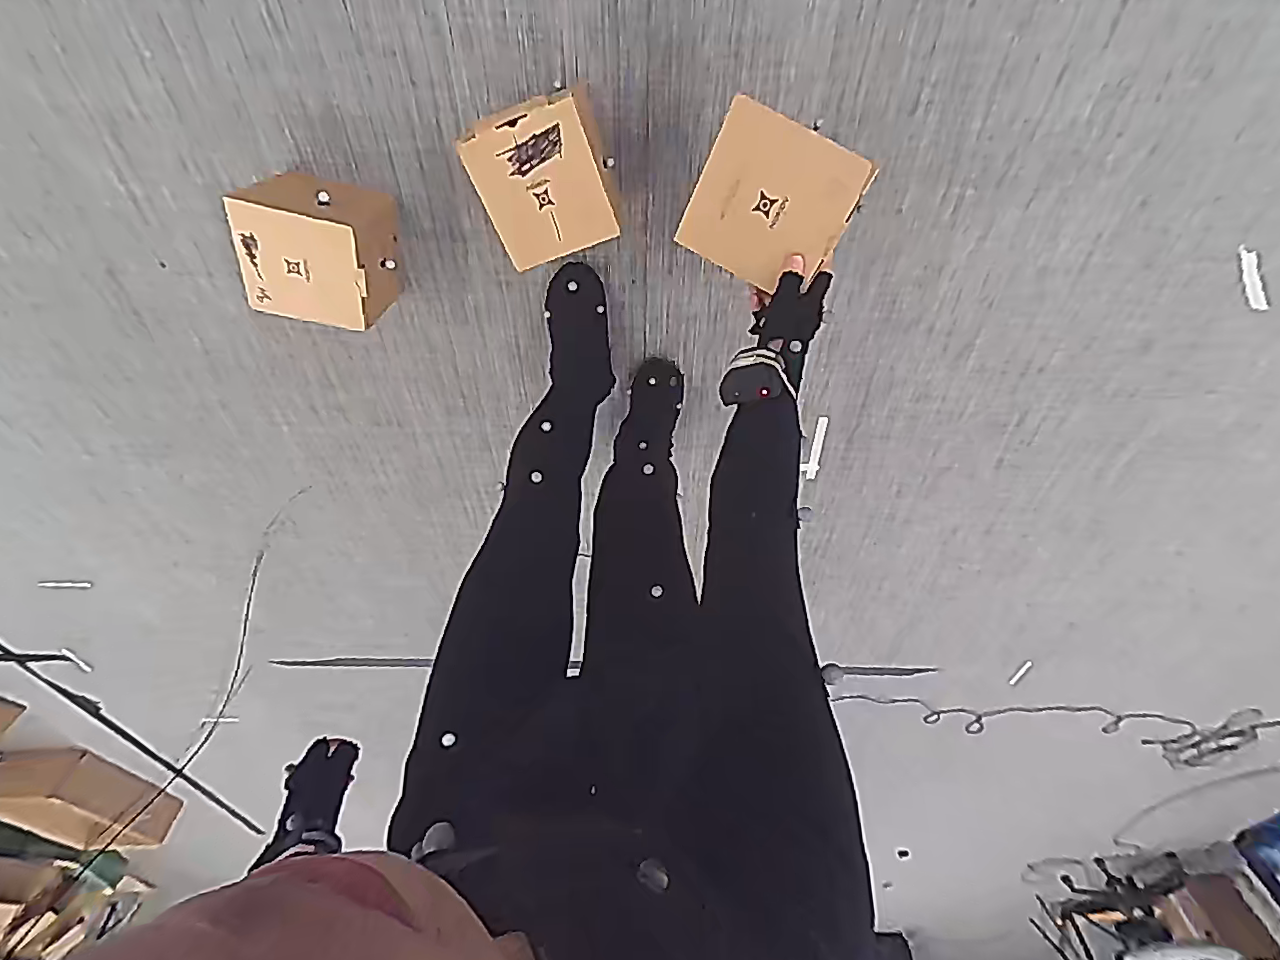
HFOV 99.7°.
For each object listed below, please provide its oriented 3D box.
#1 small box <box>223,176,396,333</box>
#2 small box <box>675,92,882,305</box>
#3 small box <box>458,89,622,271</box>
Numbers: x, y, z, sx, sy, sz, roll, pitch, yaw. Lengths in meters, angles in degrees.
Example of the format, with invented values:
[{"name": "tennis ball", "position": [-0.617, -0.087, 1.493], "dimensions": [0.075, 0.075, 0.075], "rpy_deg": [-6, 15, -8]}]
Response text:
[{"name": "small box", "position": [-0.497, -0.357, 0.850], "dimensions": [0.179, 0.176, 0.168], "rpy_deg": [10, 129, -8]}, {"name": "small box", "position": [0.174, -0.346, 0.673], "dimensions": [0.179, 0.176, 0.168], "rpy_deg": [30, 124, 5]}, {"name": "small box", "position": [-0.131, -0.436, 0.780], "dimensions": [0.168, 0.176, 0.179], "rpy_deg": [-15, 129, 12]}]
